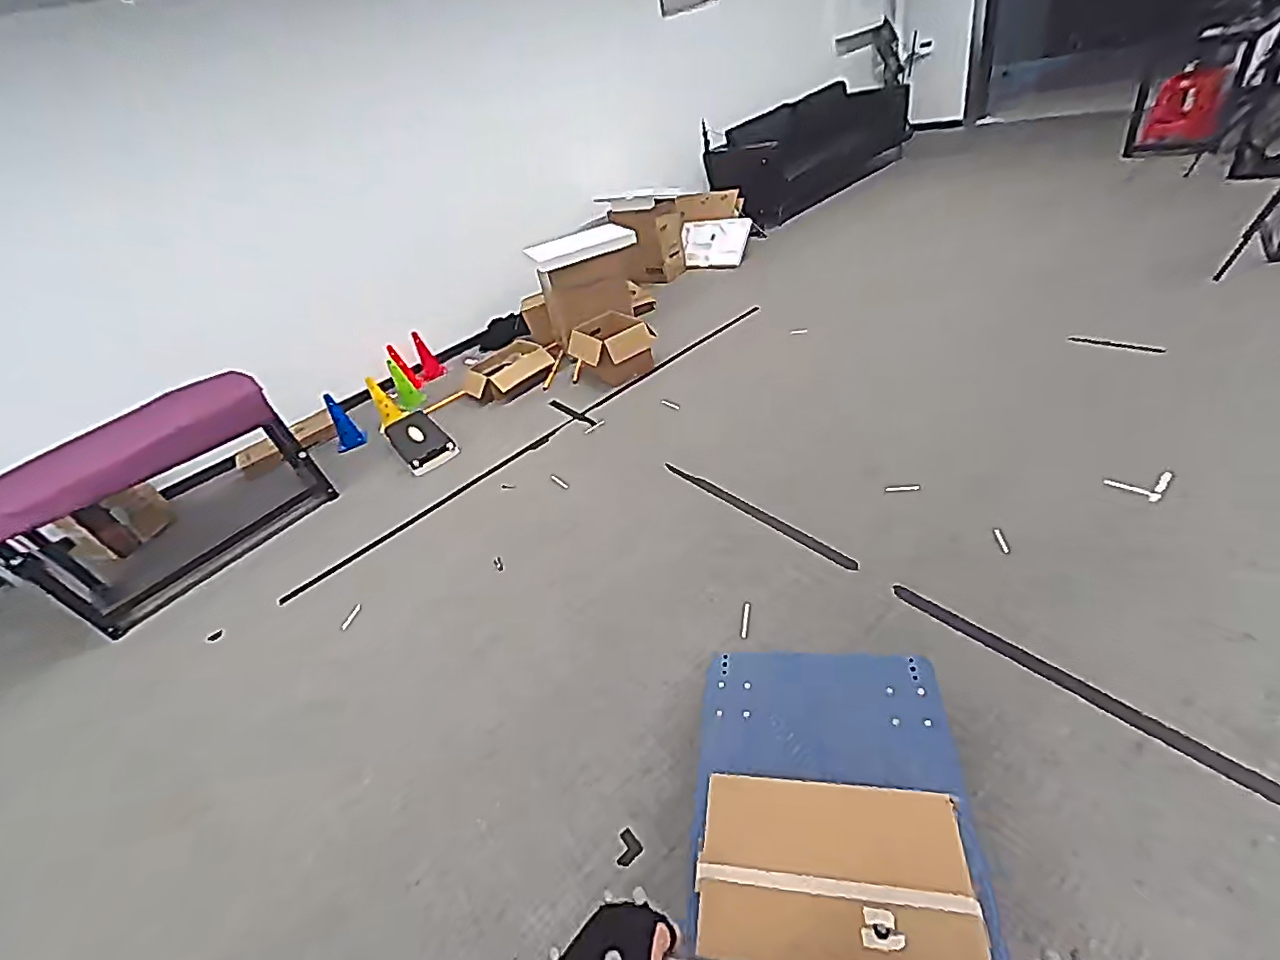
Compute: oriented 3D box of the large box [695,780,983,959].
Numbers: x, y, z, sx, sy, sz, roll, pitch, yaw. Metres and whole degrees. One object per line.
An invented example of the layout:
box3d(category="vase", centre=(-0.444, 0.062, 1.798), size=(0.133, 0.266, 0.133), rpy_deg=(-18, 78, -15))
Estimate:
box3d(category="large box", centre=(0.321, 0.756, 0.922), size=(0.408, 0.320, 0.320), rpy_deg=(-3, 39, 16))
